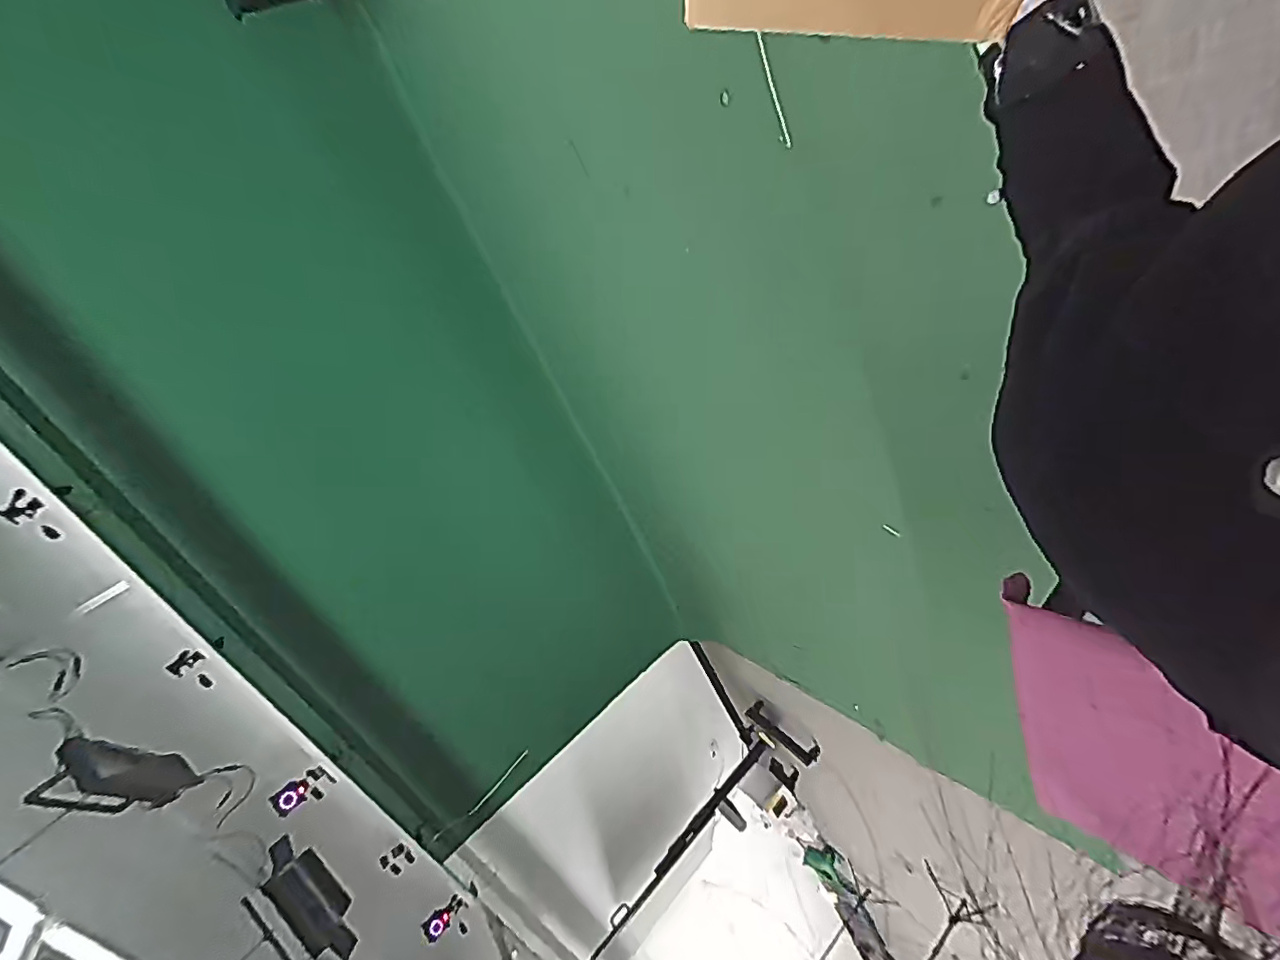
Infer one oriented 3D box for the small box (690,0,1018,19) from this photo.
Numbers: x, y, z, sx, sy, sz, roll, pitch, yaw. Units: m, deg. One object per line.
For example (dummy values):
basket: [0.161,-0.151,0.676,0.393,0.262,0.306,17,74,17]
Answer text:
small box: [0.117,-0.349,0.234,0.168,0.179,0.176,11,157,11]
